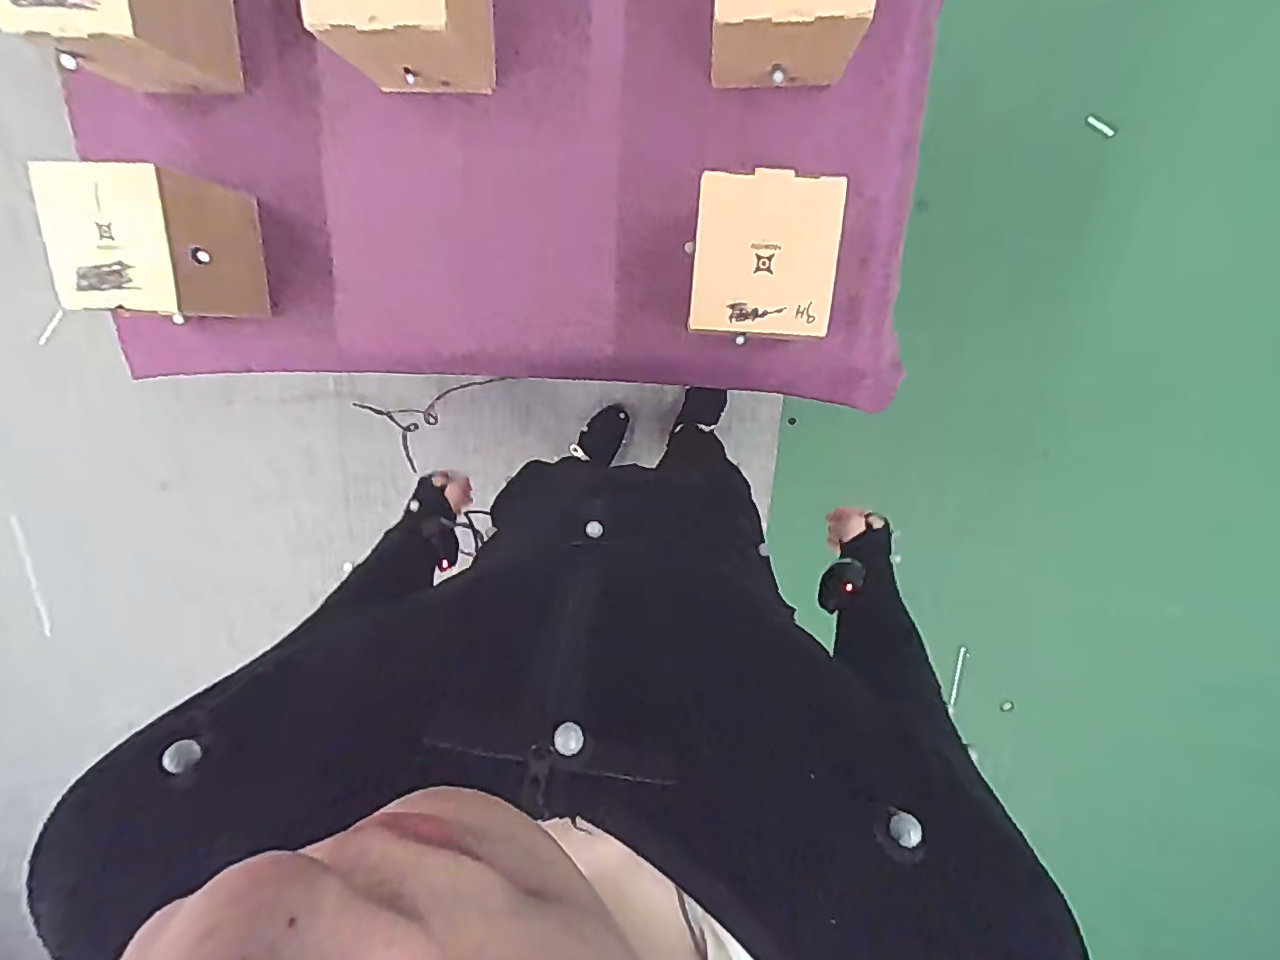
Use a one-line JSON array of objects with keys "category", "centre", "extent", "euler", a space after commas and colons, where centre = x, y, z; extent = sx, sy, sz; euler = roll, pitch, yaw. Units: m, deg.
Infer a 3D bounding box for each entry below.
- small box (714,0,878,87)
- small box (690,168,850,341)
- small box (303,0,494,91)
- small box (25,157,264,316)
[{"category": "small box", "centre": [0.173, -0.587, 0.619], "extent": [0.168, 0.176, 0.179], "euler": [3, 106, 6]}, {"category": "small box", "centre": [0.155, -0.280, 0.706], "extent": [0.168, 0.176, 0.179], "euler": [5, 103, 3]}, {"category": "small box", "centre": [-0.281, -0.605, 0.648], "extent": [0.168, 0.176, 0.179], "euler": [3, 107, 2]}, {"category": "small box", "centre": [-0.659, -0.322, 0.747], "extent": [0.168, 0.176, 0.179], "euler": [3, 105, 2]}]
